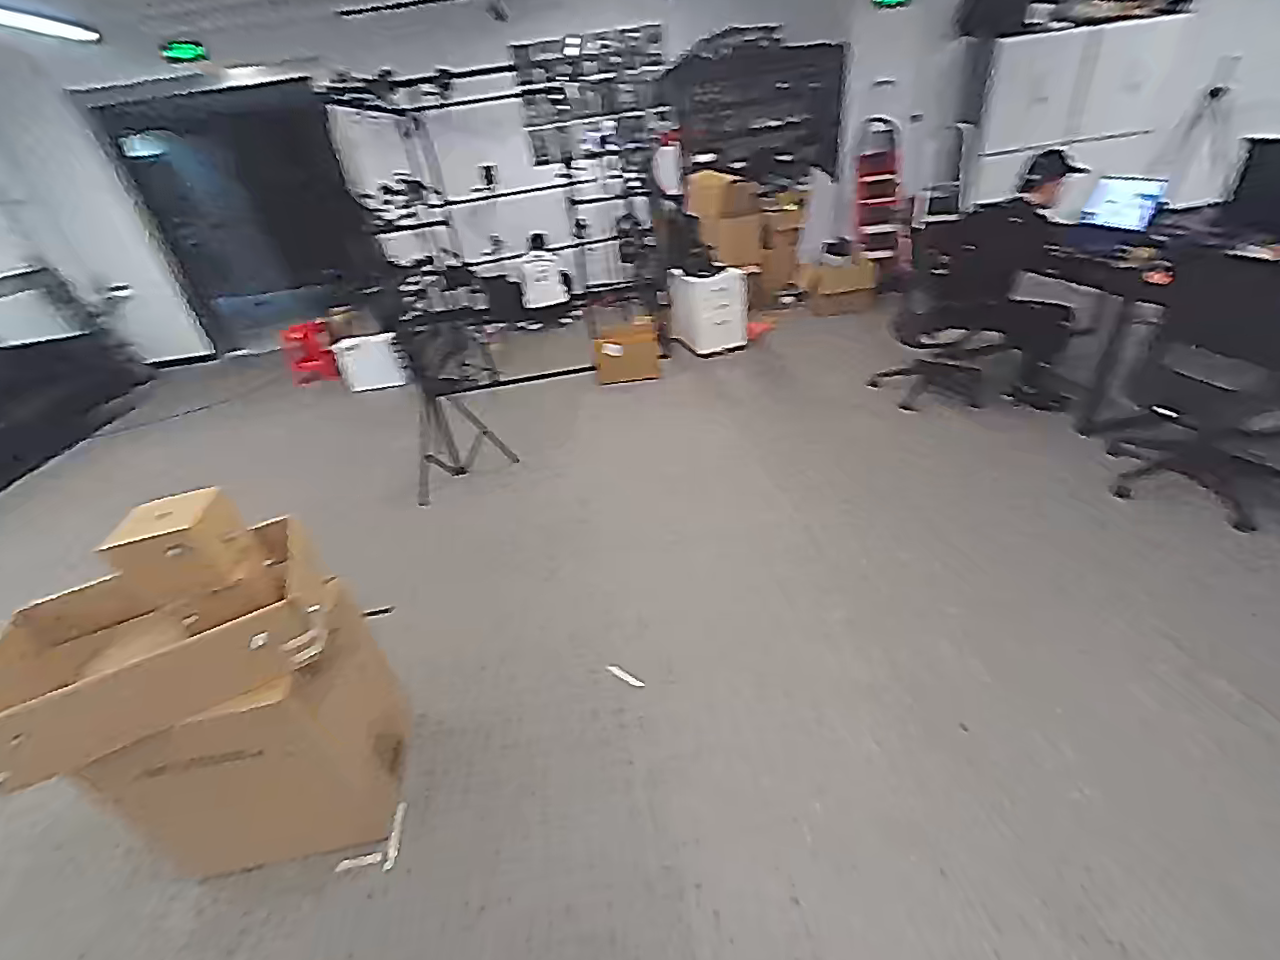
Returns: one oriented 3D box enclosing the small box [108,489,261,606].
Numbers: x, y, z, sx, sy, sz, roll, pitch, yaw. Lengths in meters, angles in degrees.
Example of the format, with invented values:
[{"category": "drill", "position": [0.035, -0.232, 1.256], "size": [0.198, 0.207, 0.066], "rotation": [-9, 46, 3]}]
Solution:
[{"category": "small box", "position": [-0.990, 0.150, 1.200], "size": [0.179, 0.176, 0.168], "rotation": [-15, 33, -8]}]
